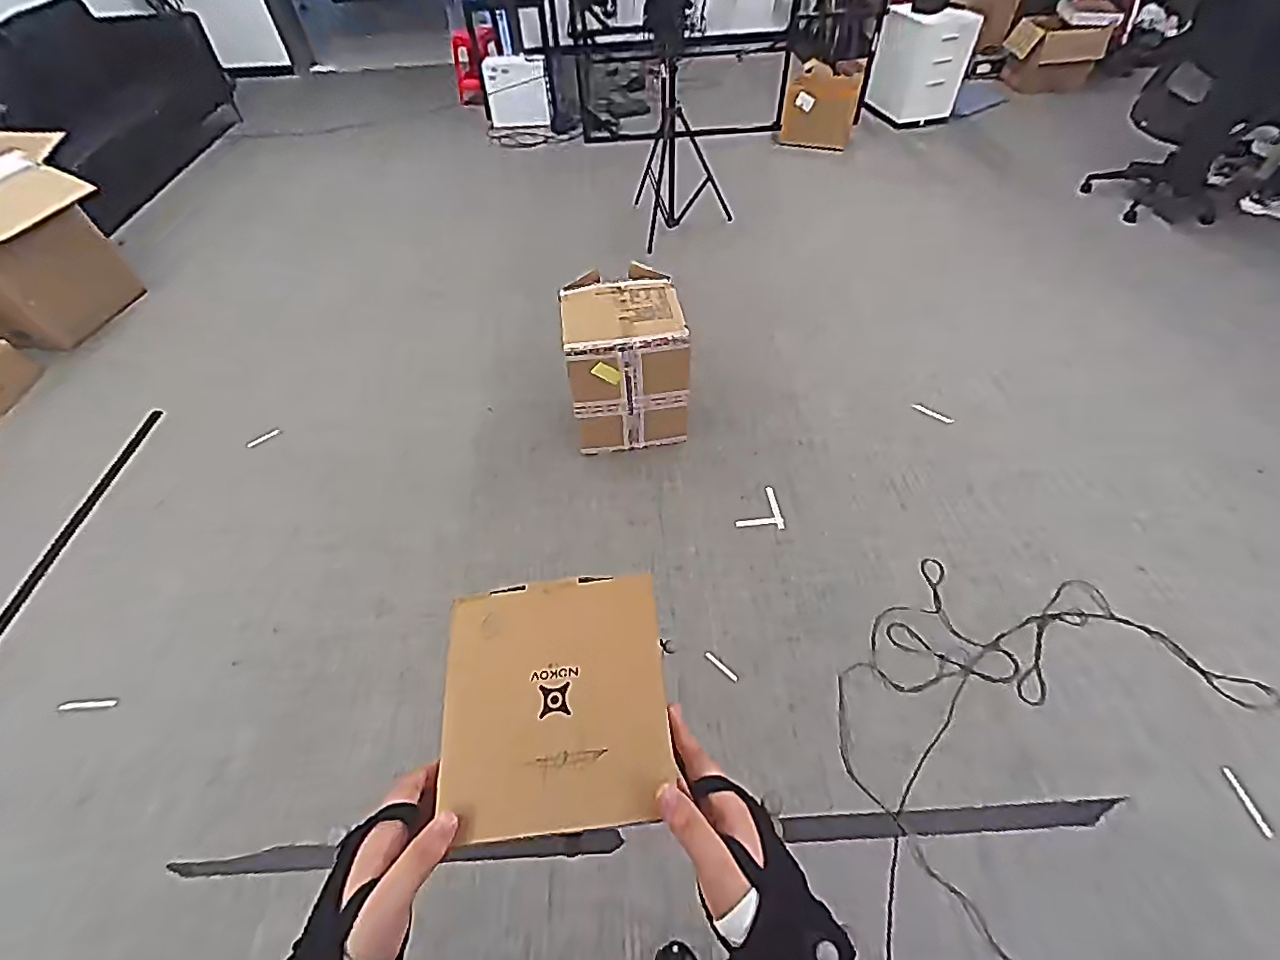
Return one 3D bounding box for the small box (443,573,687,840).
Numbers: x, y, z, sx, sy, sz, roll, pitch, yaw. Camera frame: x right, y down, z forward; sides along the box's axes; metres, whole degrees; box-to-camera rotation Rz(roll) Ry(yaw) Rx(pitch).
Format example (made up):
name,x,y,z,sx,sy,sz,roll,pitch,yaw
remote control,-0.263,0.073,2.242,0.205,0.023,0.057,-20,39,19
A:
name,x,y,z,sx,sy,sz,roll,pitch,yaw
small box,-0.054,0.200,0.470,0.168,0.176,0.179,-7,58,0
